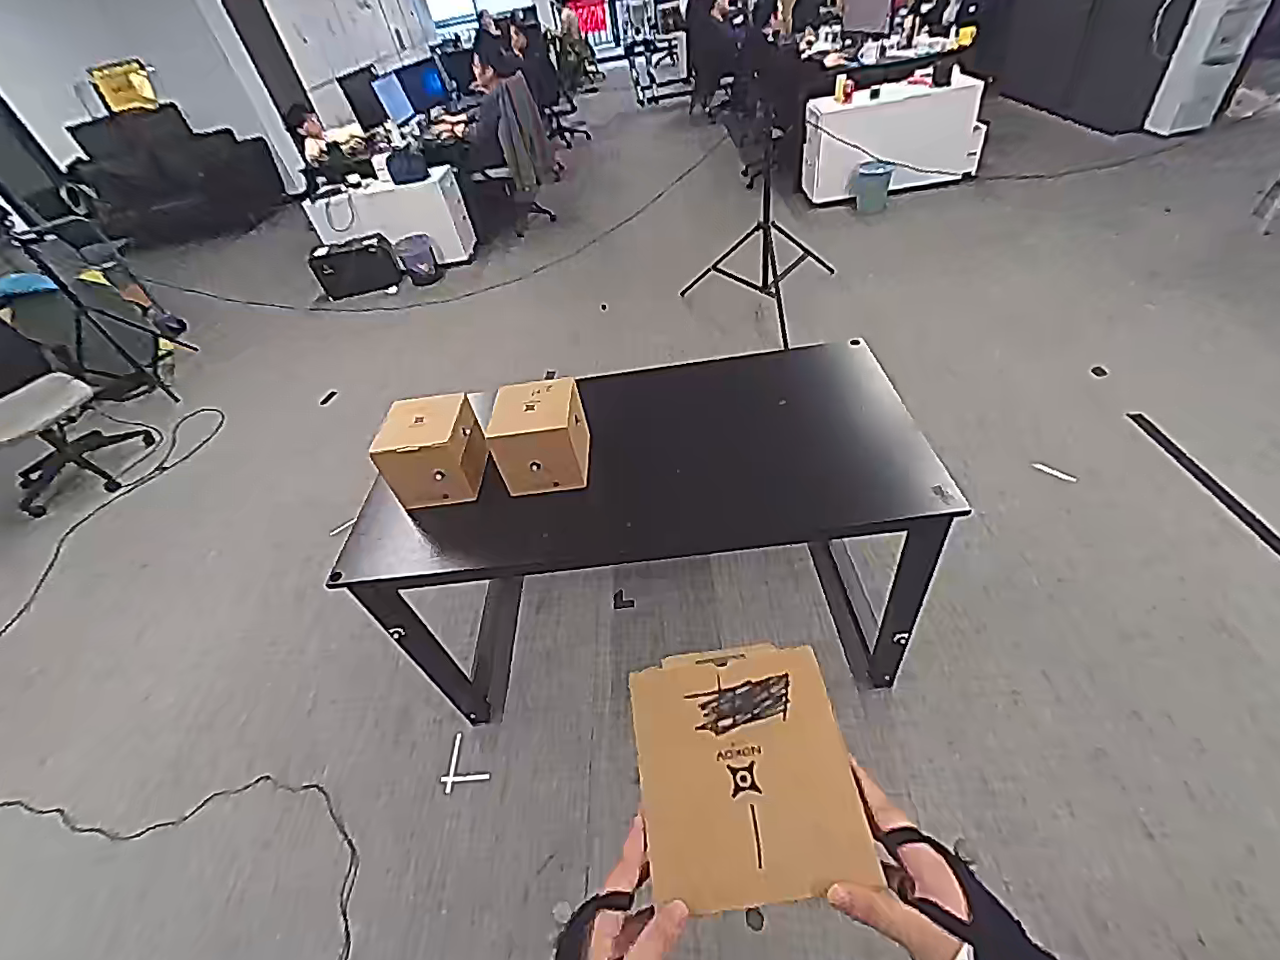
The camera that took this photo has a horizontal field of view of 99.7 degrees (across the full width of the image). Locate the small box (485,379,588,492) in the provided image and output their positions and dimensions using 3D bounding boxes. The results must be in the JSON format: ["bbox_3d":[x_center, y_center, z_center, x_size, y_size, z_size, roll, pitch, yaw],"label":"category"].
[{"bbox_3d":[-0.209,-0.089,1.147,0.168,0.176,0.179,-6,44,5],"label":"small box"}]

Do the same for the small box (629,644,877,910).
[{"bbox_3d":[0.085,0.273,0.493,0.168,0.176,0.179,-9,52,0],"label":"small box"}]

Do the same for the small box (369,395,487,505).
[{"bbox_3d":[-0.446,-0.059,1.171,0.168,0.176,0.179,-7,43,4],"label":"small box"}]
